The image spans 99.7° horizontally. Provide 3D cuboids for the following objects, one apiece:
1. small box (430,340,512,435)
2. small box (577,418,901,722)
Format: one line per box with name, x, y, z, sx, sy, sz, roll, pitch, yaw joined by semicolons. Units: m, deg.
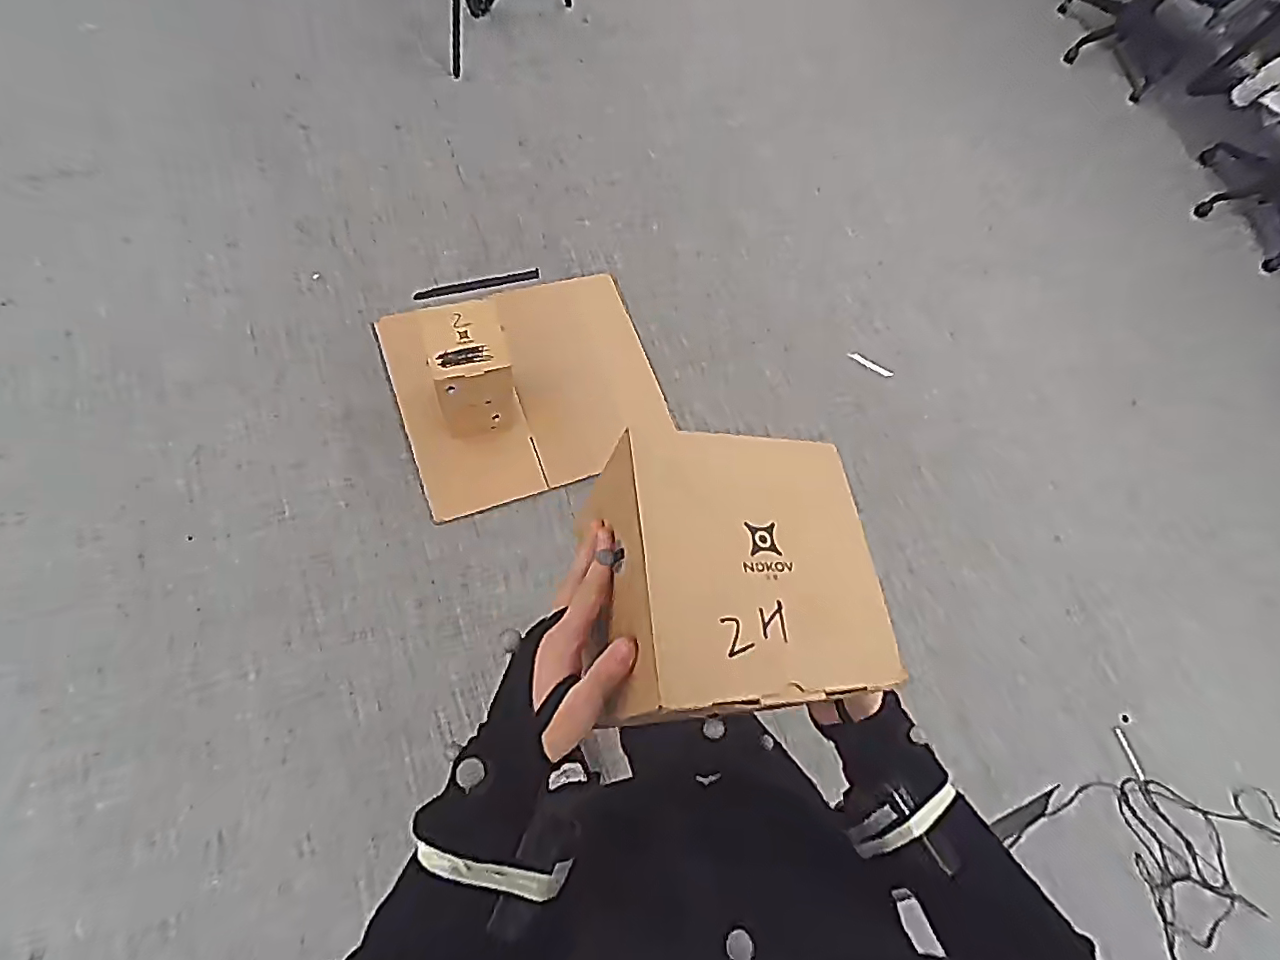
small box;-0.425;-0.228;1.379;0.168;0.176;0.179;-13;75;-17
small box;0.051;0.076;0.411;0.168;0.176;0.179;3;62;-19
